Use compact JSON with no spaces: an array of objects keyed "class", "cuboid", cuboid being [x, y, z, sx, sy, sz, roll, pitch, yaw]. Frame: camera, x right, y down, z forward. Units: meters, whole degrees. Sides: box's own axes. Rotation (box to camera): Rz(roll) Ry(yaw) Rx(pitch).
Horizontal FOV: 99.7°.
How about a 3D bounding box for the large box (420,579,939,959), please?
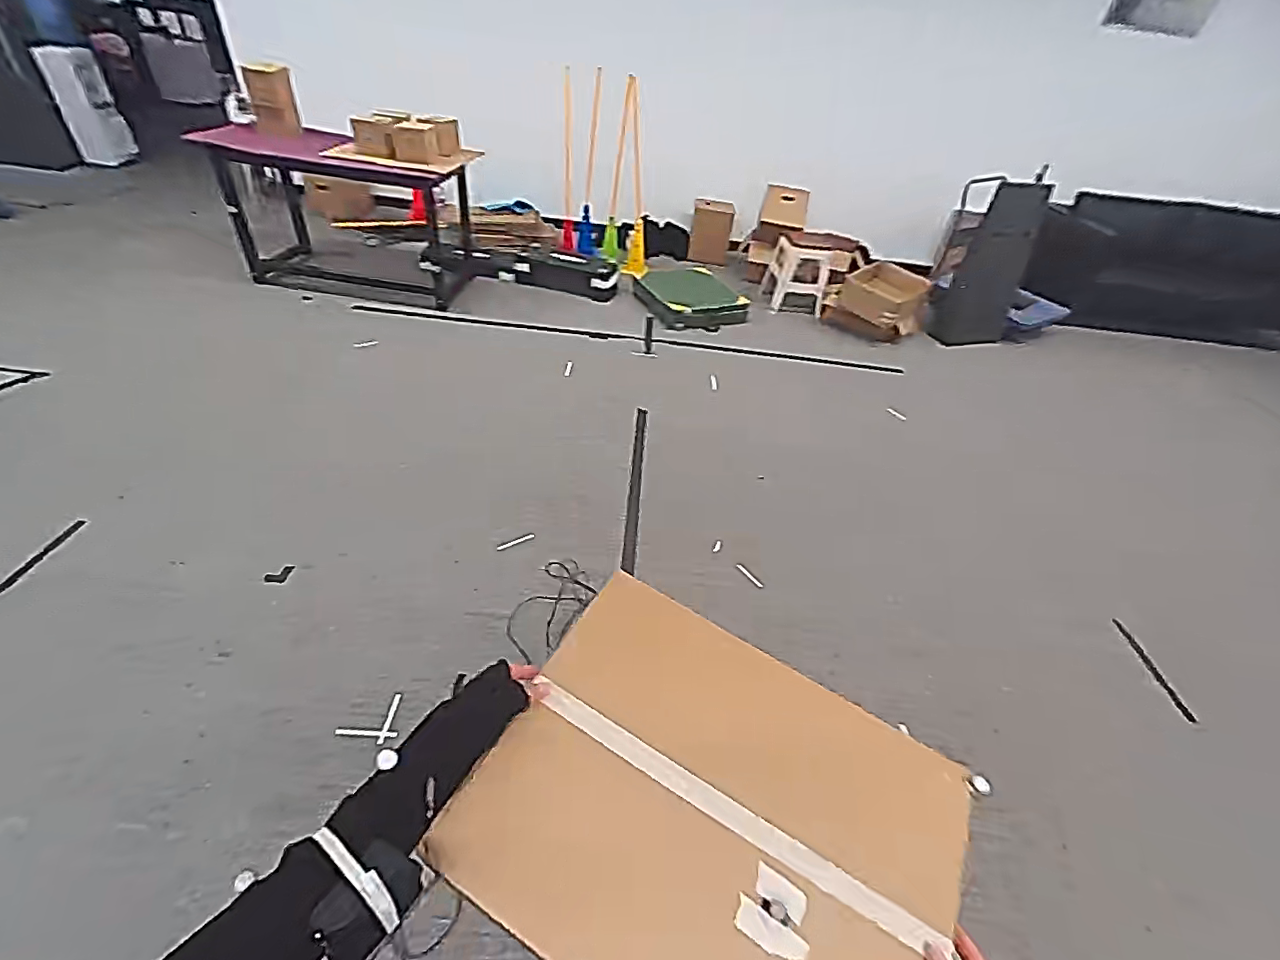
[{"class":"large box","cuboid":[0.037,0.387,0.600,0.408,0.320,0.320,27,51,12]}]
